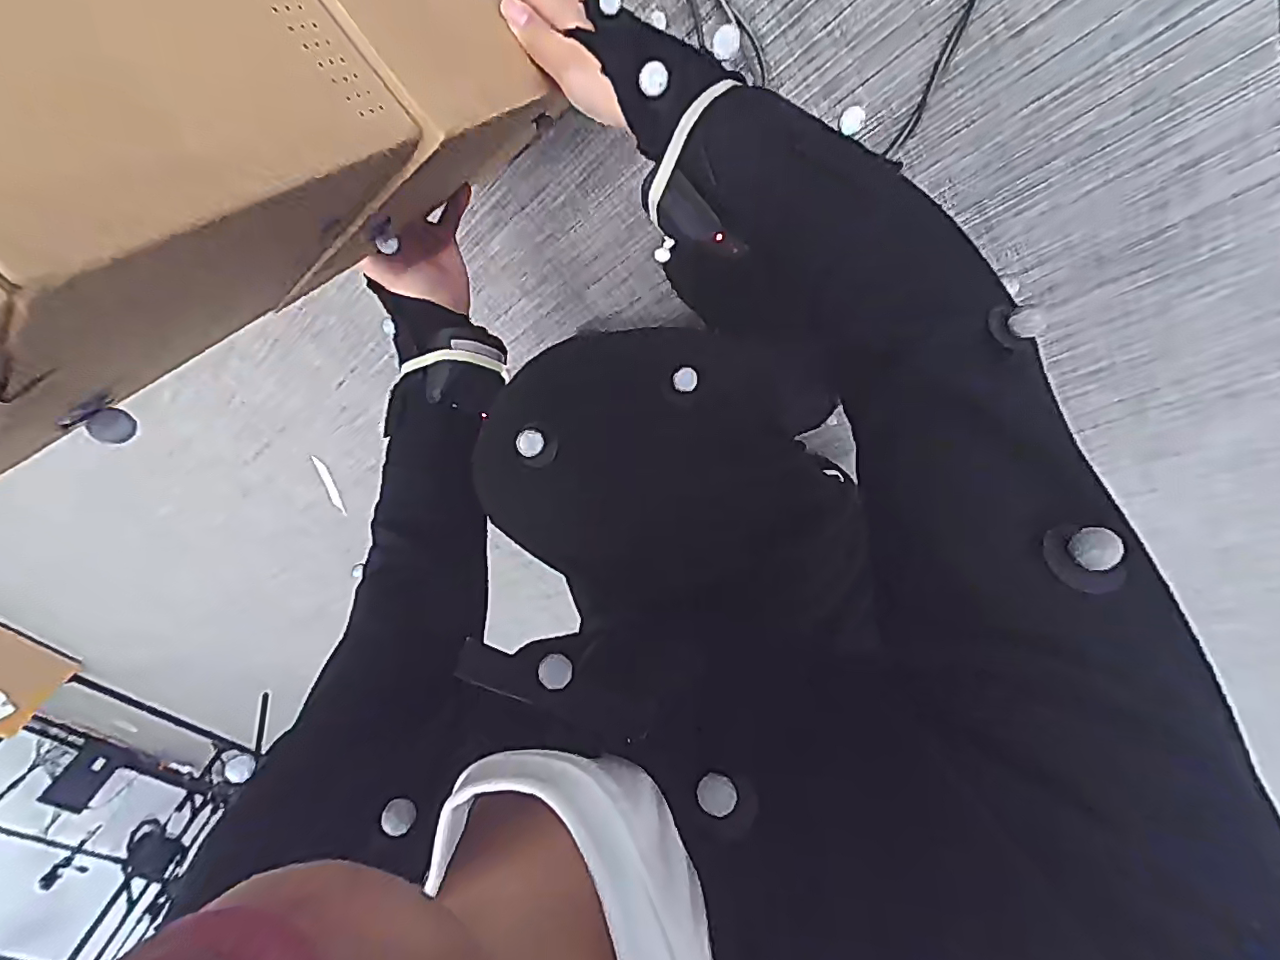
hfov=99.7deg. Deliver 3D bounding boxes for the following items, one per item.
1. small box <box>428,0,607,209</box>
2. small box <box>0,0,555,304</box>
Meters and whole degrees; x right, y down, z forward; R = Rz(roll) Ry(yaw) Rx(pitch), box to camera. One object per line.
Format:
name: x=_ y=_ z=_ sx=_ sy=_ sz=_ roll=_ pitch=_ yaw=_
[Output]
small box: x=-0.142 y=-0.345 z=0.410 sx=0.179 sy=0.176 sz=0.168 roll=-20 pitch=123 yaw=32
small box: x=-0.177 y=-0.234 z=0.294 sx=0.179 sy=0.176 sz=0.168 roll=-20 pitch=123 yaw=31
